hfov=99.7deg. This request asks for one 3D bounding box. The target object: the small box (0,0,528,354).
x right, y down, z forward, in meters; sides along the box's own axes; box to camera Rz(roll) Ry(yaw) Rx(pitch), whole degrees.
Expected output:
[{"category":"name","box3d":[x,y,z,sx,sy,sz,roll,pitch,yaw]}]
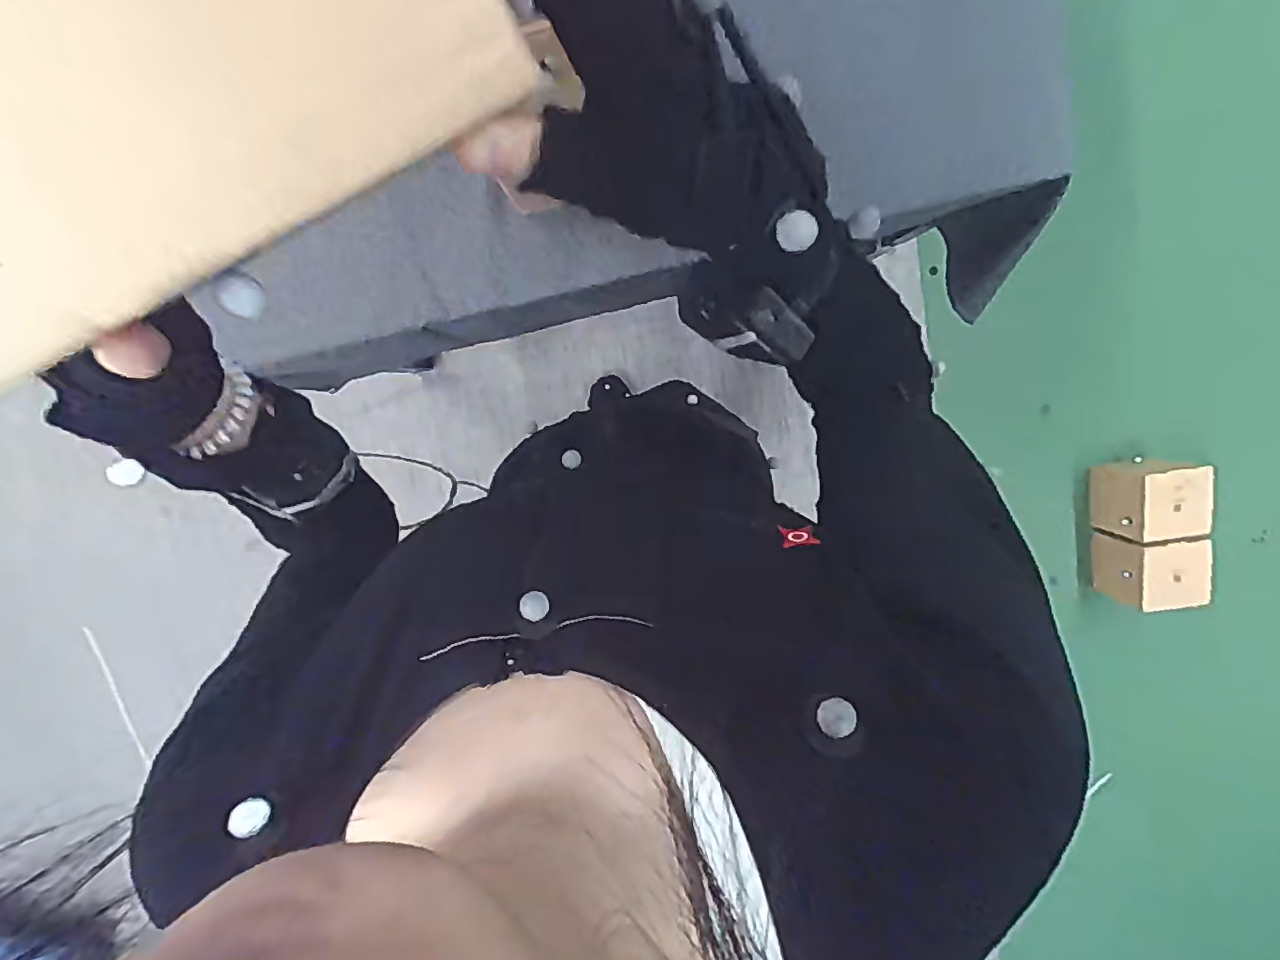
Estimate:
[{"category":"small box","box3d":[-0.144,-0.150,0.137,0.179,0.176,0.168,-26,125,3]}]
